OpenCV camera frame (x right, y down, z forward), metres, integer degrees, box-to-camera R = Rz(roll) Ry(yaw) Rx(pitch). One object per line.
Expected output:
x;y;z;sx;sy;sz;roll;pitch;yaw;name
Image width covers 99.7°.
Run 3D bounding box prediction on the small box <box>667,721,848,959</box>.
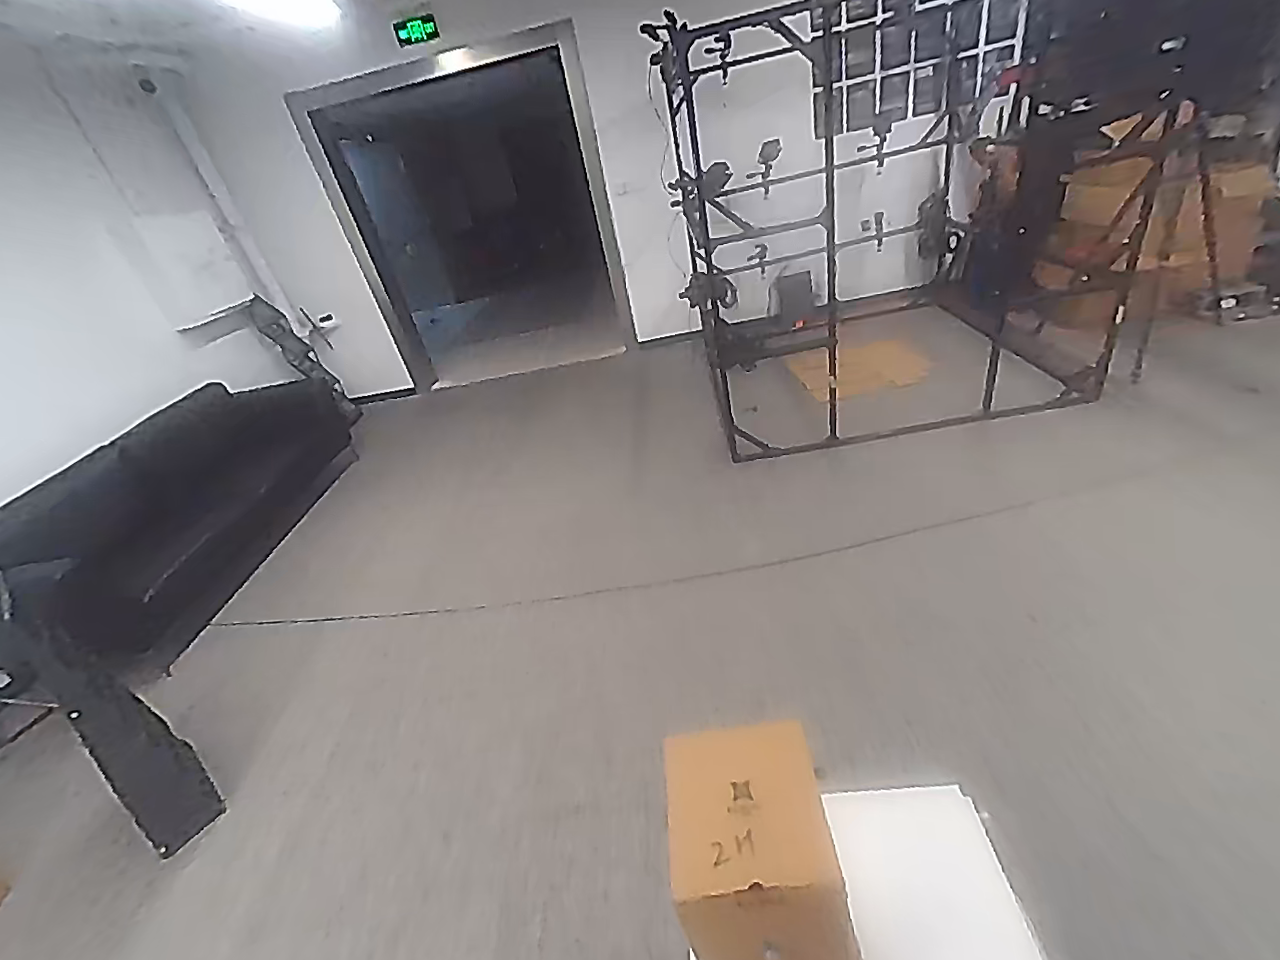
0.127;0.411;0.616;0.168;0.176;0.179;-12;30;7;small box
